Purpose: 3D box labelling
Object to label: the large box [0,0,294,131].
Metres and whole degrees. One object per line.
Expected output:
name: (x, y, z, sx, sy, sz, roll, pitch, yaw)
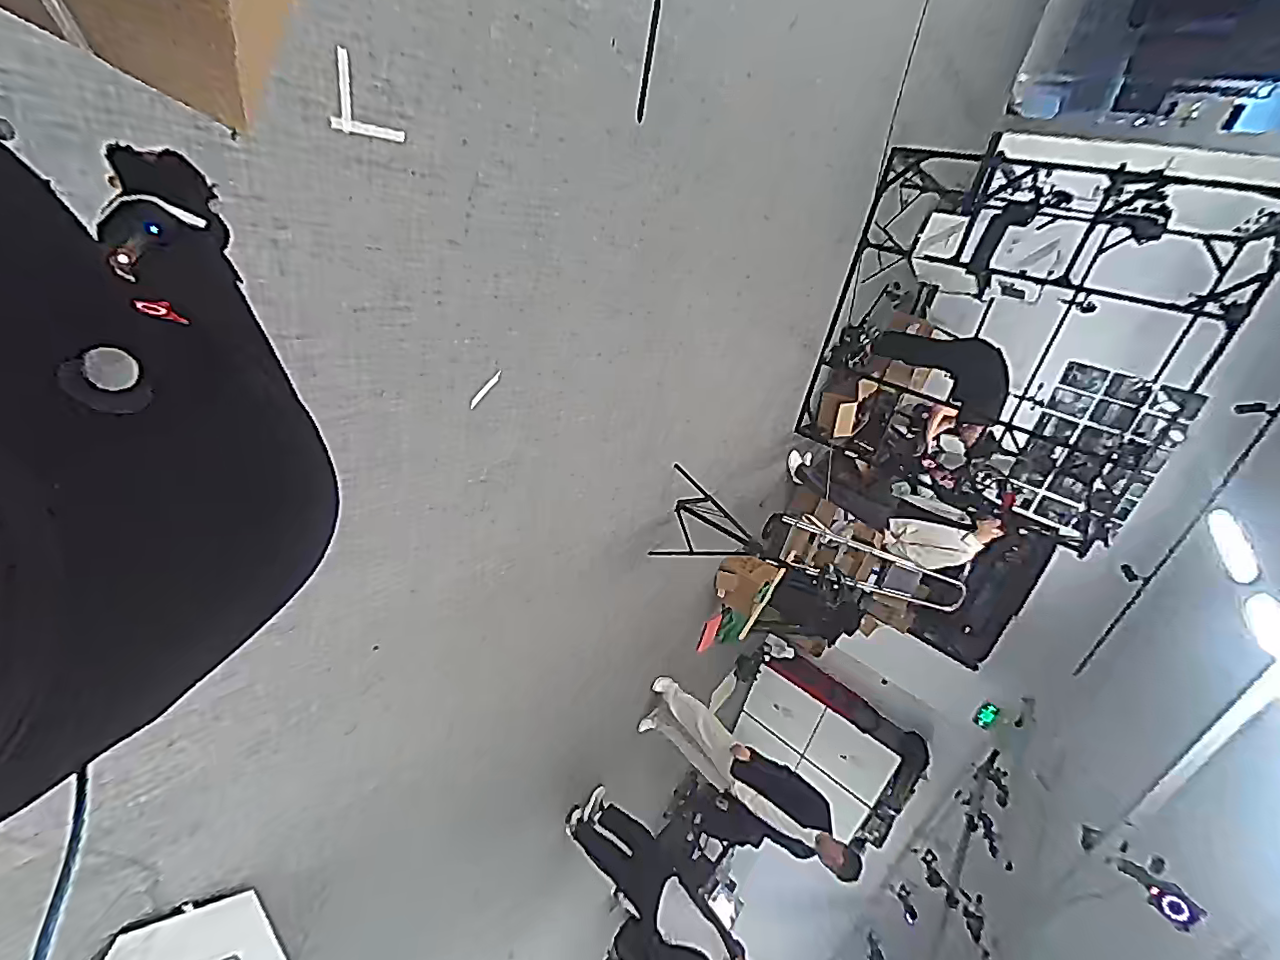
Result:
large box: (-0.476, -0.598, 0.457, 0.320, 0.408, 0.320, 20, 90, -35)
